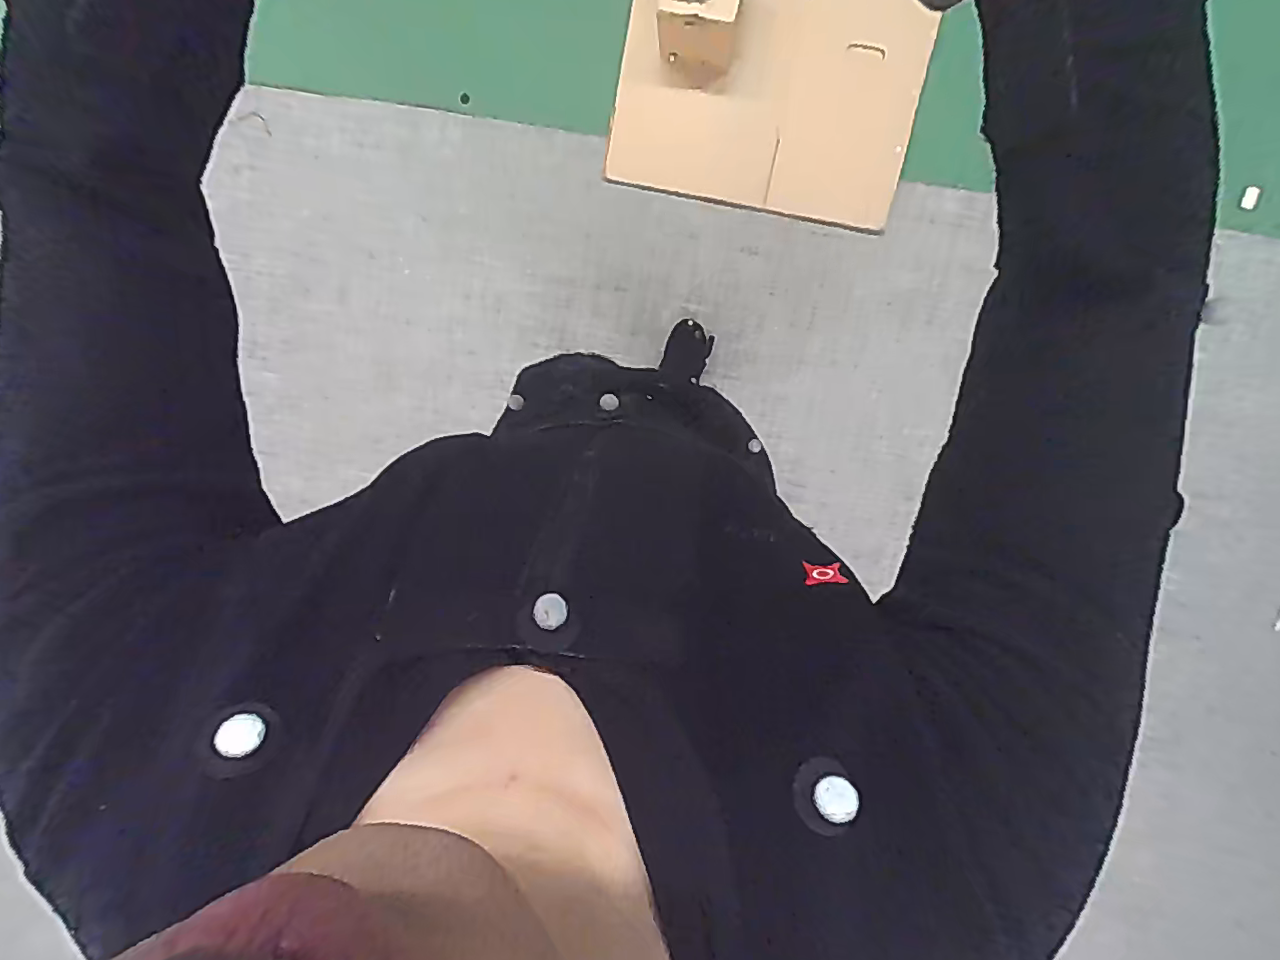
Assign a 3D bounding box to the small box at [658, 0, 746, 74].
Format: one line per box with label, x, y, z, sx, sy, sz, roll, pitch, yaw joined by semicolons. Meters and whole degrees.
small box;0.141;-1.032;1.174;0.168;0.176;0.179;13;99;3
